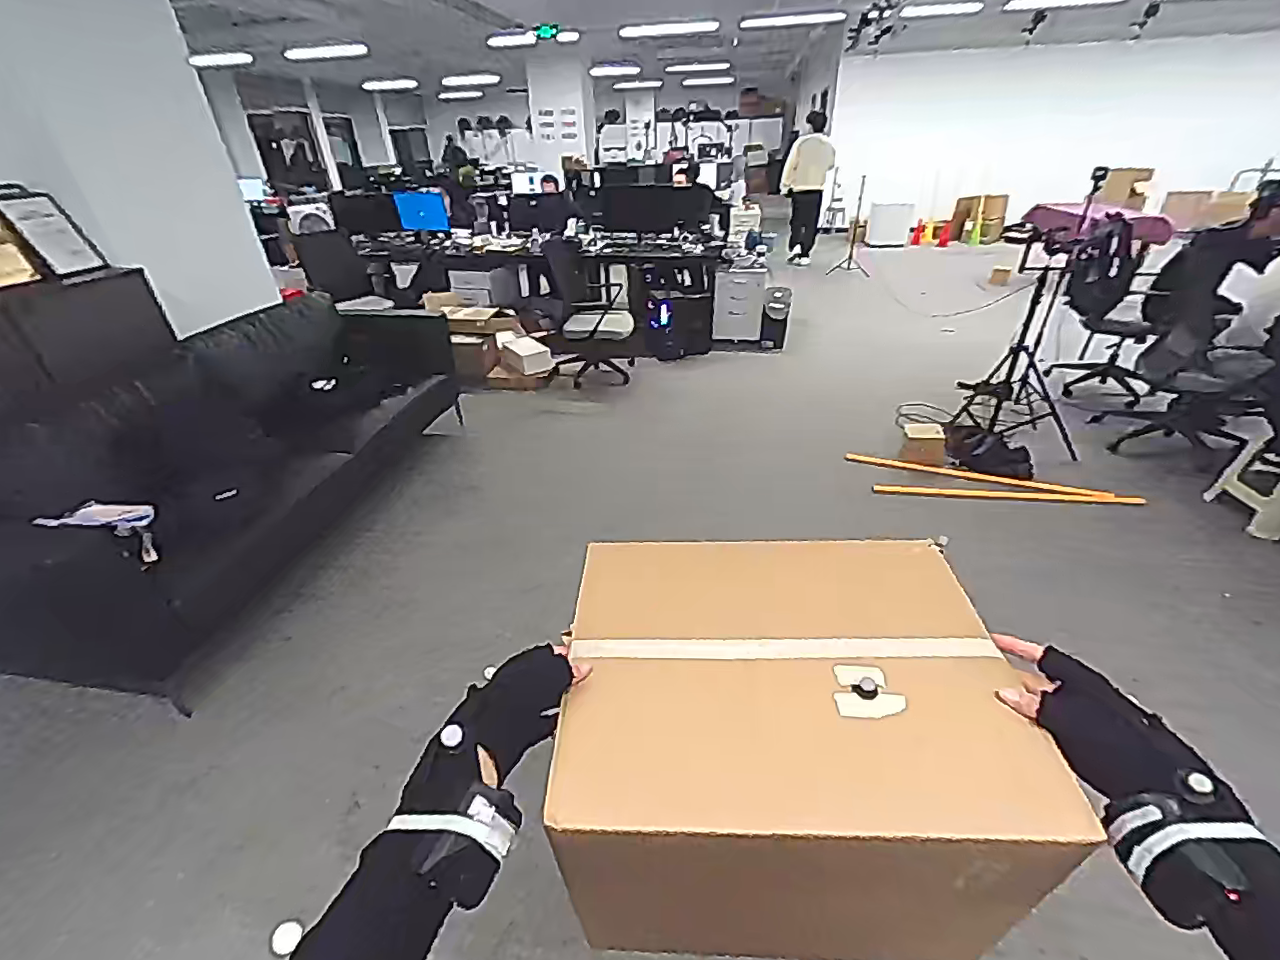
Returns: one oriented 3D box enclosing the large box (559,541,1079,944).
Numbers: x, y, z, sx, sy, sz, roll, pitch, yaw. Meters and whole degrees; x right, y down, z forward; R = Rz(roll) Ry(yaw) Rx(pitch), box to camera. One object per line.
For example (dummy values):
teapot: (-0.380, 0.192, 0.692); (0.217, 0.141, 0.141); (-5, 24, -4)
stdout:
large box: (0.141, 0.287, 0.616); (0.408, 0.320, 0.320); (-1, 36, 3)
